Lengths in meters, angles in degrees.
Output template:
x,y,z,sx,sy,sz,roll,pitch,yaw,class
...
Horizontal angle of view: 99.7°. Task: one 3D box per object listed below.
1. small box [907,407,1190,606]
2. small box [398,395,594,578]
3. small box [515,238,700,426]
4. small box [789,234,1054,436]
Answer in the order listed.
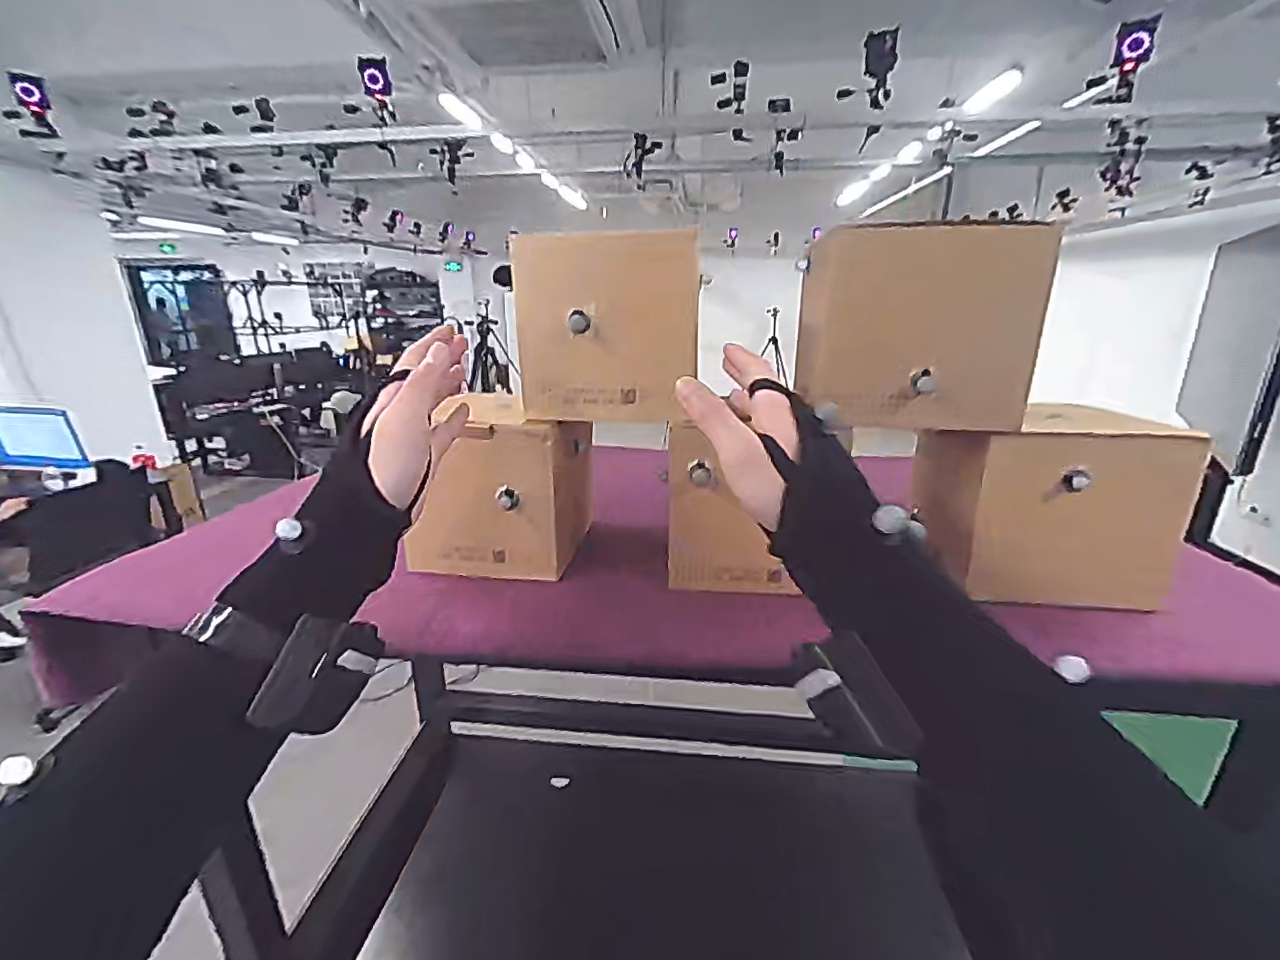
x,y,z,sx,sy,sz,roll,pitch,yaw,class
0.401,0.019,0.572,0.179,0.176,0.168,2,18,6,small box
-0.148,0.000,0.625,0.168,0.176,0.179,4,18,7,small box
-0.020,-0.153,0.577,0.168,0.176,0.179,1,17,6,small box
0.254,-0.142,0.538,0.179,0.176,0.168,3,17,8,small box
